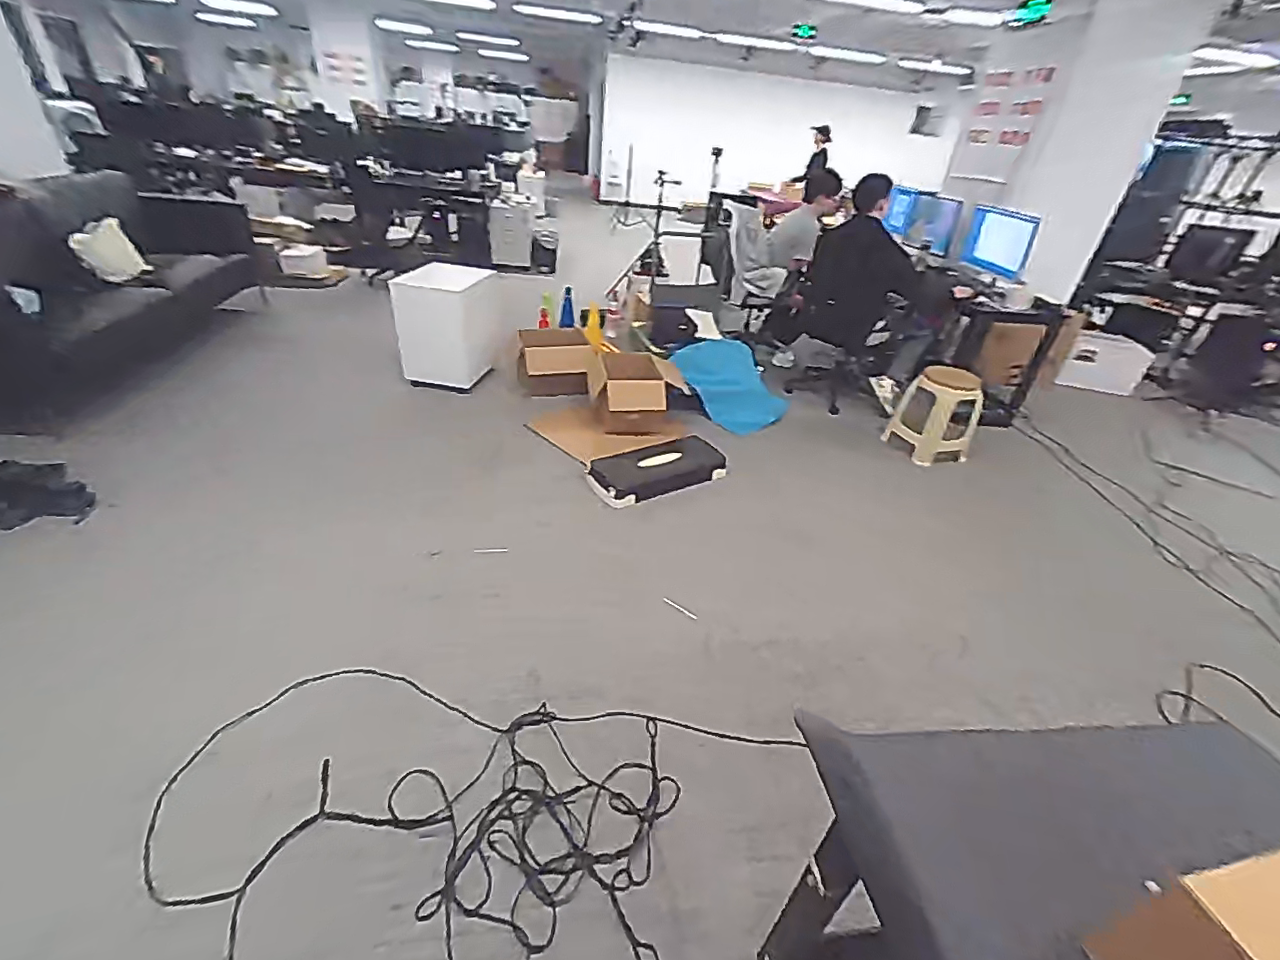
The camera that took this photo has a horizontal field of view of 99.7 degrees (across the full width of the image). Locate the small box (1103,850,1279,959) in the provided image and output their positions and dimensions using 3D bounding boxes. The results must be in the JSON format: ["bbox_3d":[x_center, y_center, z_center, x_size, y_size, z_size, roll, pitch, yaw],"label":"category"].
[{"bbox_3d":[0.574,0.464,0.481,0.179,0.176,0.168,-2,35,-14],"label":"small box"}]
